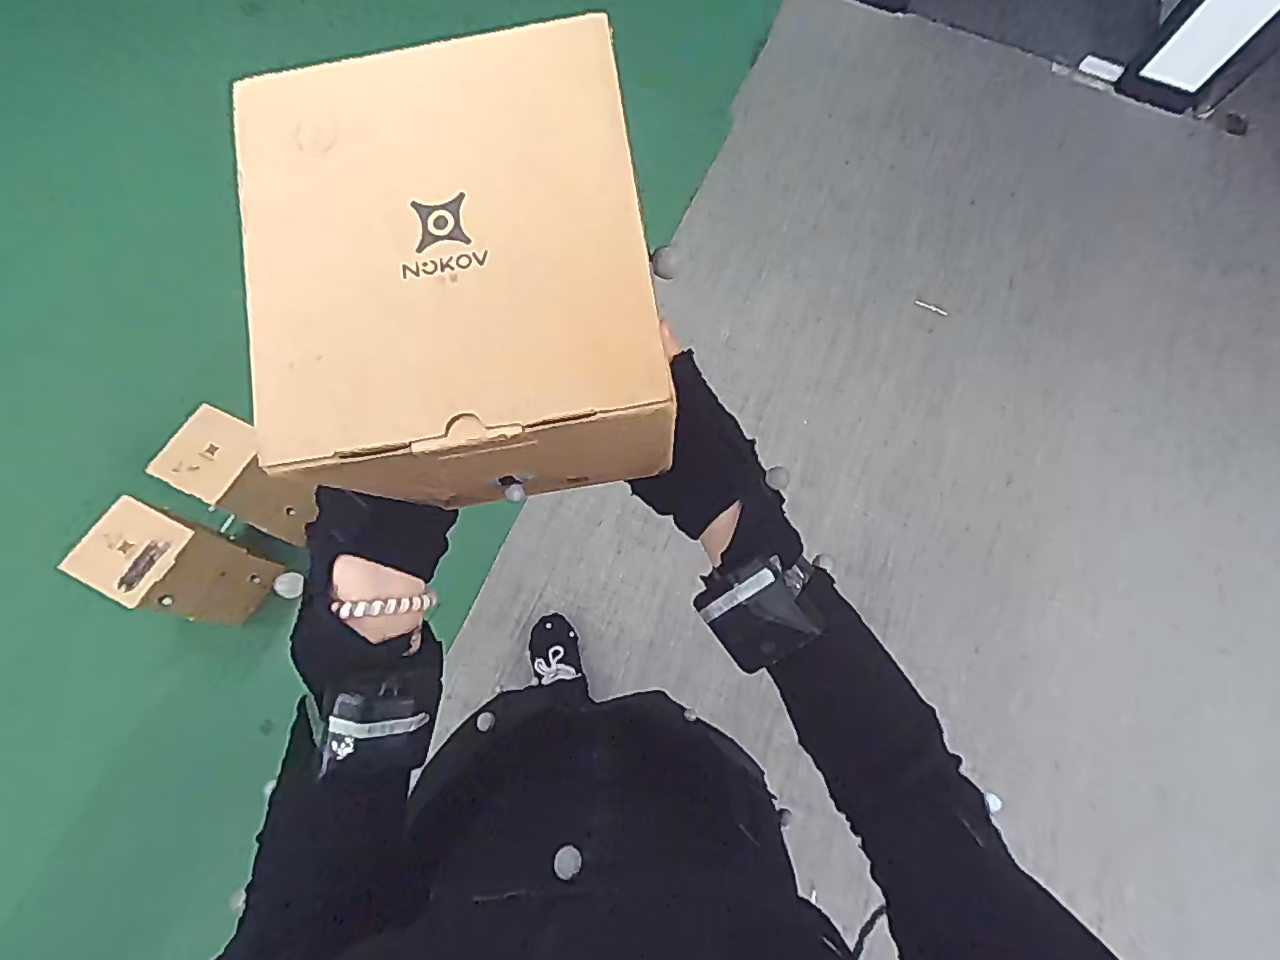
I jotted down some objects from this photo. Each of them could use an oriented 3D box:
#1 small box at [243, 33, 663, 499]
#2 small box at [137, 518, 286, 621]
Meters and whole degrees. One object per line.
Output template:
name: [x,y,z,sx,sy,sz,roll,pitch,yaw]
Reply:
small box: [-0.082,-0.092,0.310,0.168,0.176,0.179,-10,83,2]
small box: [-0.984,0.216,1.262,0.179,0.176,0.168,28,71,5]
